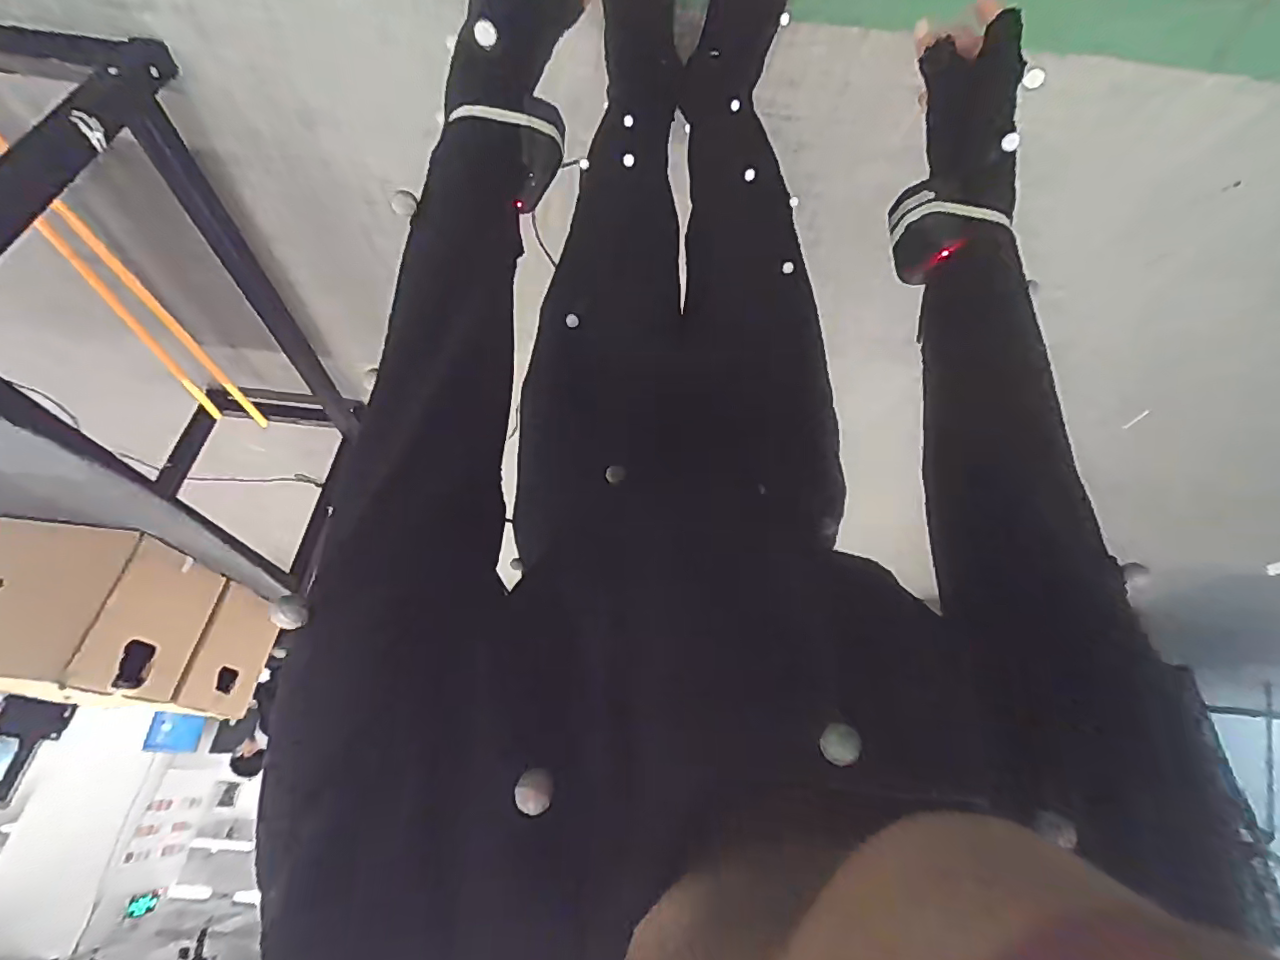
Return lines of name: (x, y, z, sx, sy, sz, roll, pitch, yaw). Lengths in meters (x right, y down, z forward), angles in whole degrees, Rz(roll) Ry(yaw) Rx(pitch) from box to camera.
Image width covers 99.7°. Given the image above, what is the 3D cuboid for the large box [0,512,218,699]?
large box: (-1.260, 0.275, 1.165, 0.408, 0.320, 0.320, 5, 151, -2)
